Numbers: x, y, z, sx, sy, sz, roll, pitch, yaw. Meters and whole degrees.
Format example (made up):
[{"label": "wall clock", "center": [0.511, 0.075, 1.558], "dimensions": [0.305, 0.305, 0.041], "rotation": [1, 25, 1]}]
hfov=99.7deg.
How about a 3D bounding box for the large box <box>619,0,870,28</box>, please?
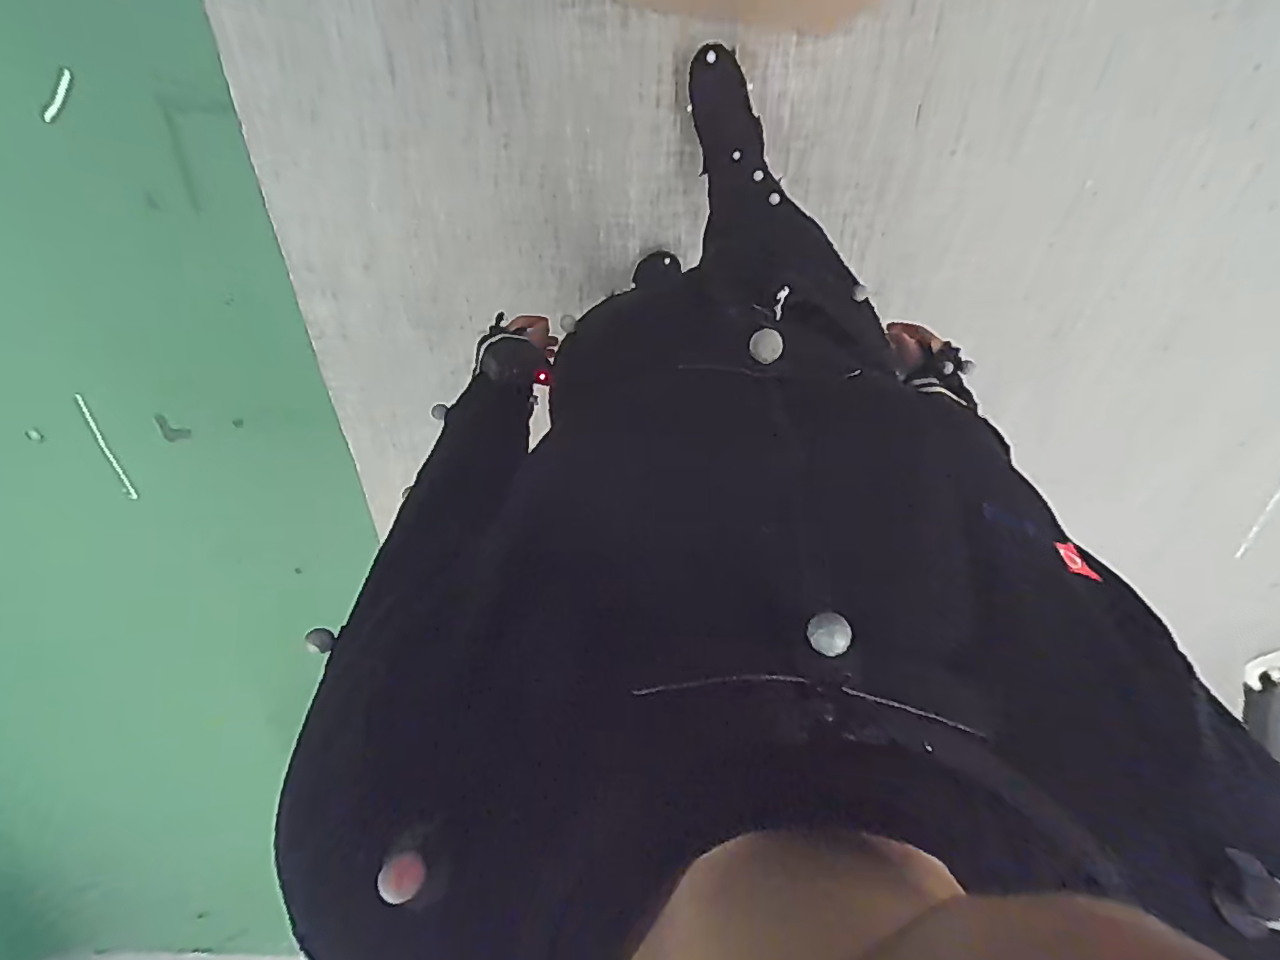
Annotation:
[{"label": "large box", "center": [0.170, -0.893, 0.775], "dimensions": [0.408, 0.320, 0.320], "rotation": [5, 121, -3]}]
